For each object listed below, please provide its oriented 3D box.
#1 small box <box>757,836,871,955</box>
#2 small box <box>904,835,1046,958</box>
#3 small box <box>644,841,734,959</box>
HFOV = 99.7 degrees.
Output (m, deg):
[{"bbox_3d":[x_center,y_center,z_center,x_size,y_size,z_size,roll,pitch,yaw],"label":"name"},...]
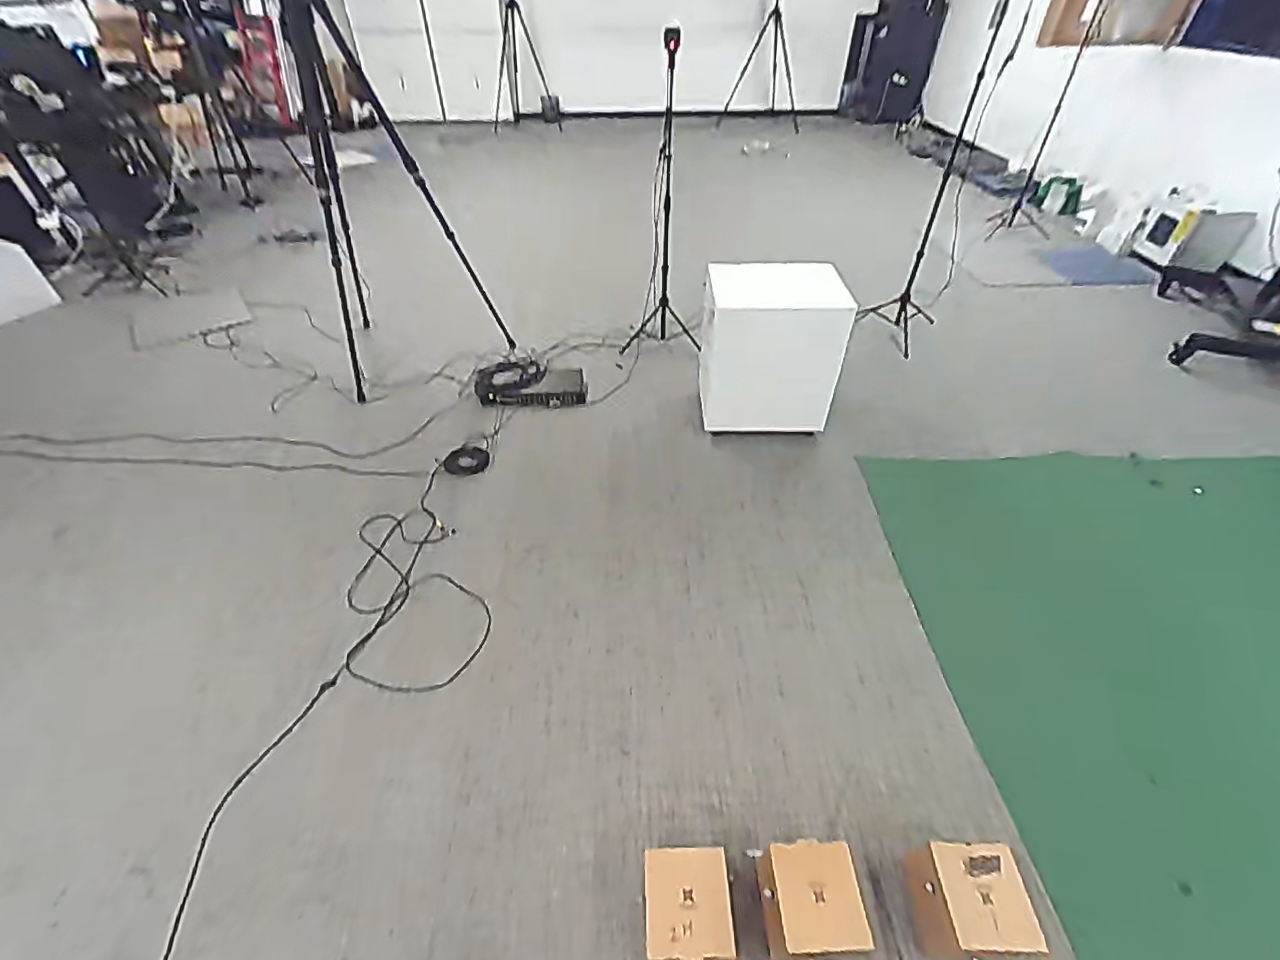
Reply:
[{"bbox_3d":[0.347,0.860,1.116,0.168,0.176,0.179,-1,43,-2],"label":"small box"},{"bbox_3d":[0.674,0.860,1.117,0.168,0.176,0.179,1,44,2],"label":"small box"},{"bbox_3d":[0.092,0.864,1.106,0.168,0.176,0.179,-1,44,0],"label":"small box"}]
